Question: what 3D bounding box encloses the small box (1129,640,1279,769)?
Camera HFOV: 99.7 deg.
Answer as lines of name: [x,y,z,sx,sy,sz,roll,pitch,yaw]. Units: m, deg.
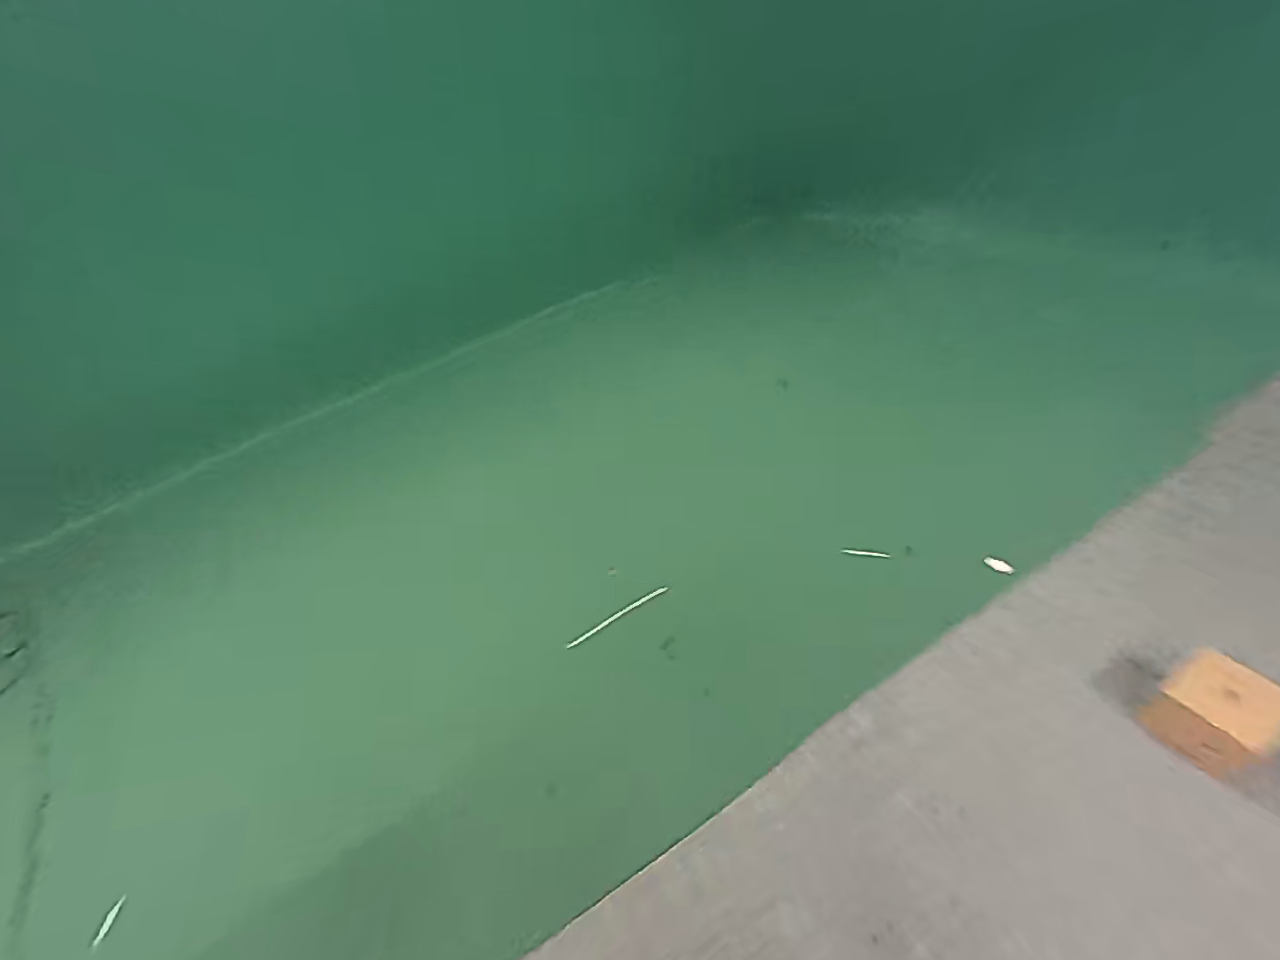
small box: [1.250,0.503,1.206,0.179,0.176,0.168,-31,44,-16]
